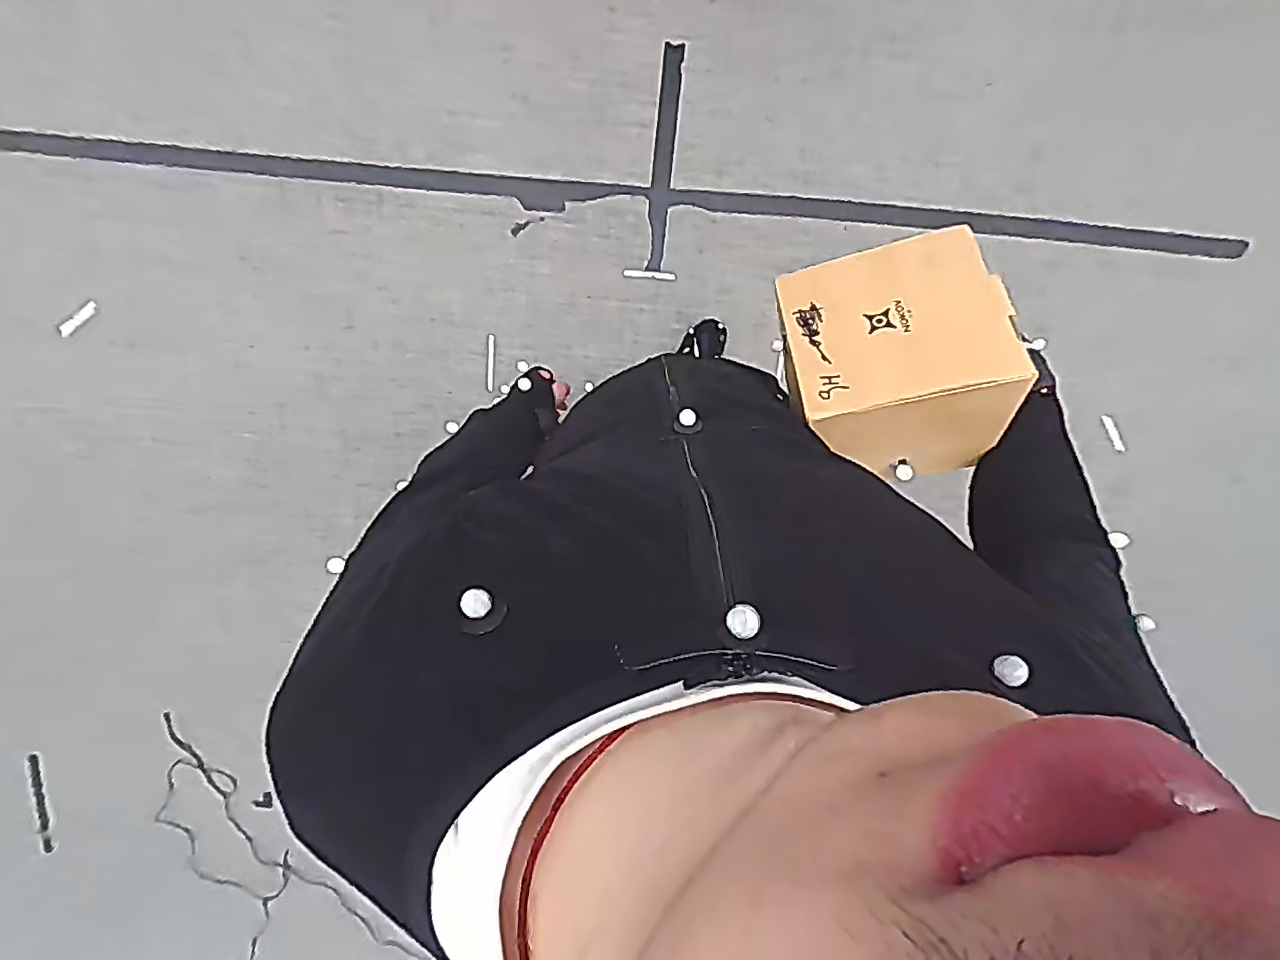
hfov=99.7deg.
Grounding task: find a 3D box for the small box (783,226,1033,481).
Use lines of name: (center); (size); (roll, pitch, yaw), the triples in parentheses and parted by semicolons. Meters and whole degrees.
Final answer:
small box: (0.251, -0.115, 0.554); (0.179, 0.176, 0.168); (-11, 63, 14)
